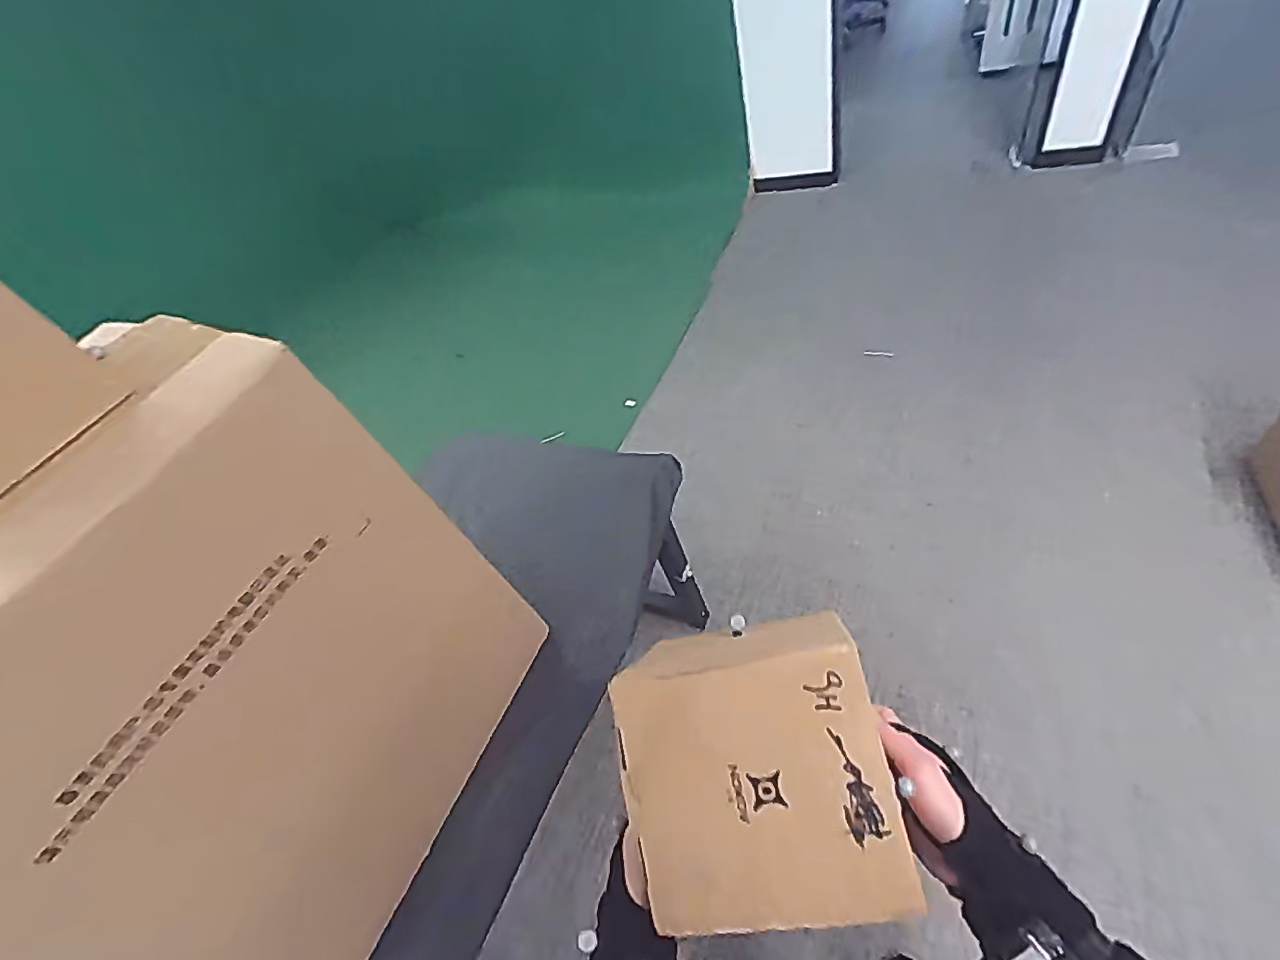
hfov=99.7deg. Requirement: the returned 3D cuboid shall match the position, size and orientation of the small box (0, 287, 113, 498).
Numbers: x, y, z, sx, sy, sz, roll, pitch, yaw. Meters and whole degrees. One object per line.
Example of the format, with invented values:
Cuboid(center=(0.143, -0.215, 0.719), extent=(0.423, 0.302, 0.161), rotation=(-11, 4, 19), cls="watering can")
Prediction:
Cuboid(center=(-0.569, -0.081, 0.409), extent=(0.168, 0.176, 0.179), rotation=(17, 59, 23), cls="small box")
